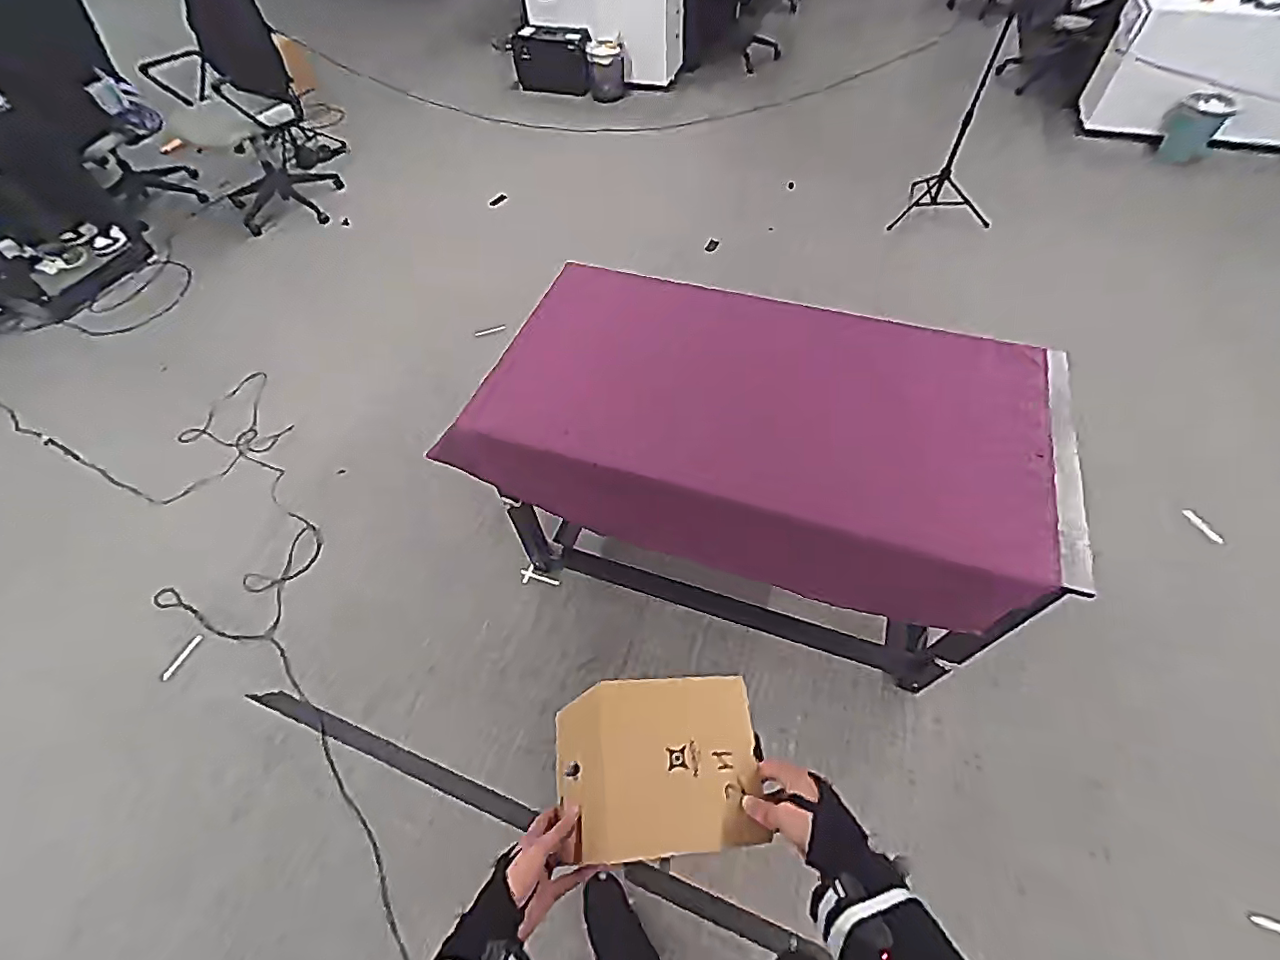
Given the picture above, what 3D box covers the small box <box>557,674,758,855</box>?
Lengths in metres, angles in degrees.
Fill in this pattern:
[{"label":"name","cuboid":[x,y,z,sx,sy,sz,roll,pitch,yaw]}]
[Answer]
[{"label":"small box","cuboid":[0.006,0.333,0.632,0.179,0.176,0.168,10,55,-23]}]
